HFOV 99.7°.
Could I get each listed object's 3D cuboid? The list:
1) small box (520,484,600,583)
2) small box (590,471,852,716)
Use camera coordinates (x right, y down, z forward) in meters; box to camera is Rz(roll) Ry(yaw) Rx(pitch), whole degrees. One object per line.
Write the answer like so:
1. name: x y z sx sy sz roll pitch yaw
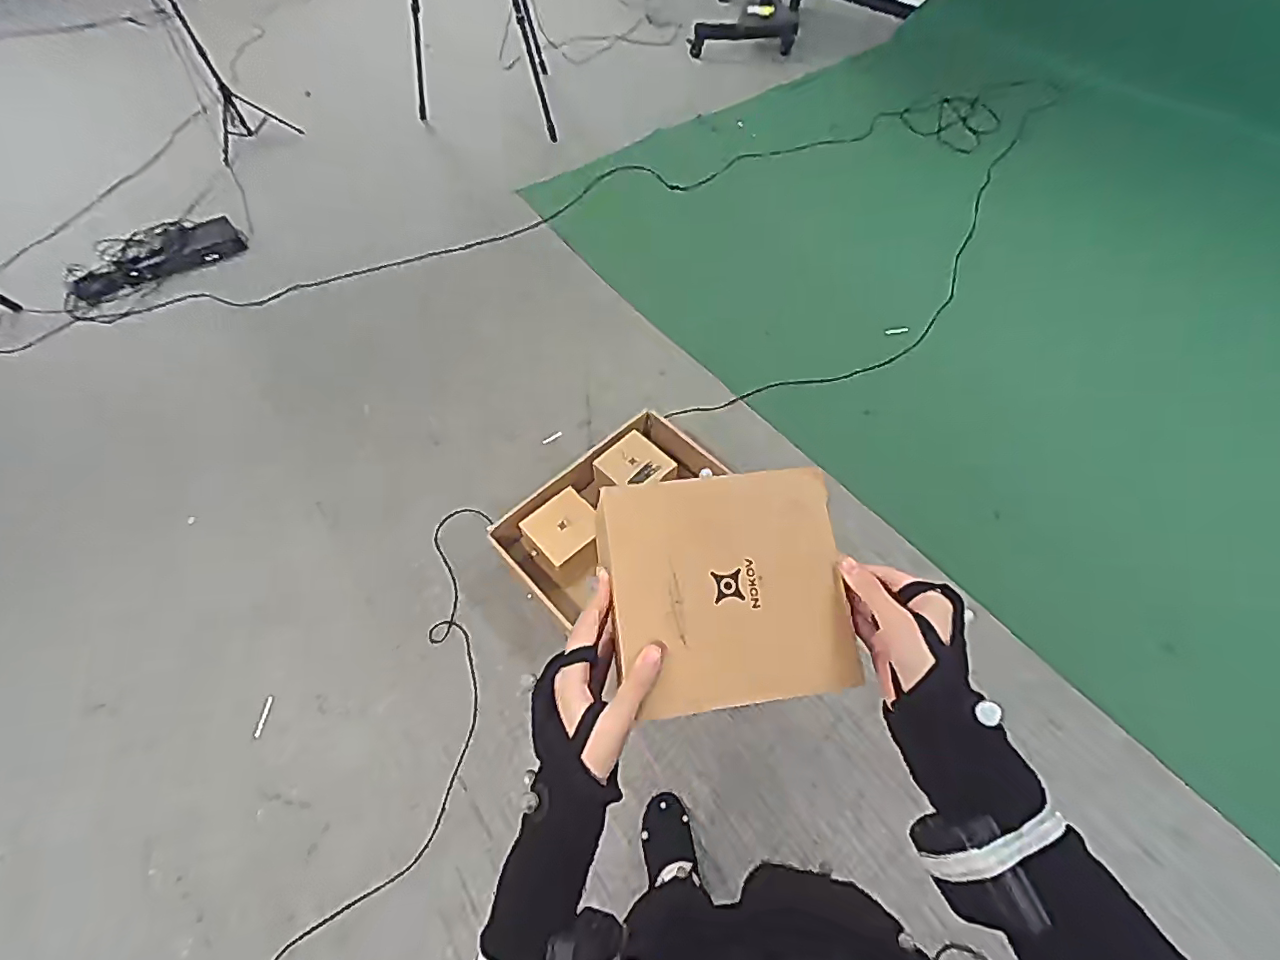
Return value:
1. small box: -0.198 0.151 1.475 0.179 0.176 0.168 -39 66 -21
2. small box: 0.052 0.094 0.475 0.179 0.176 0.168 -5 78 -8
